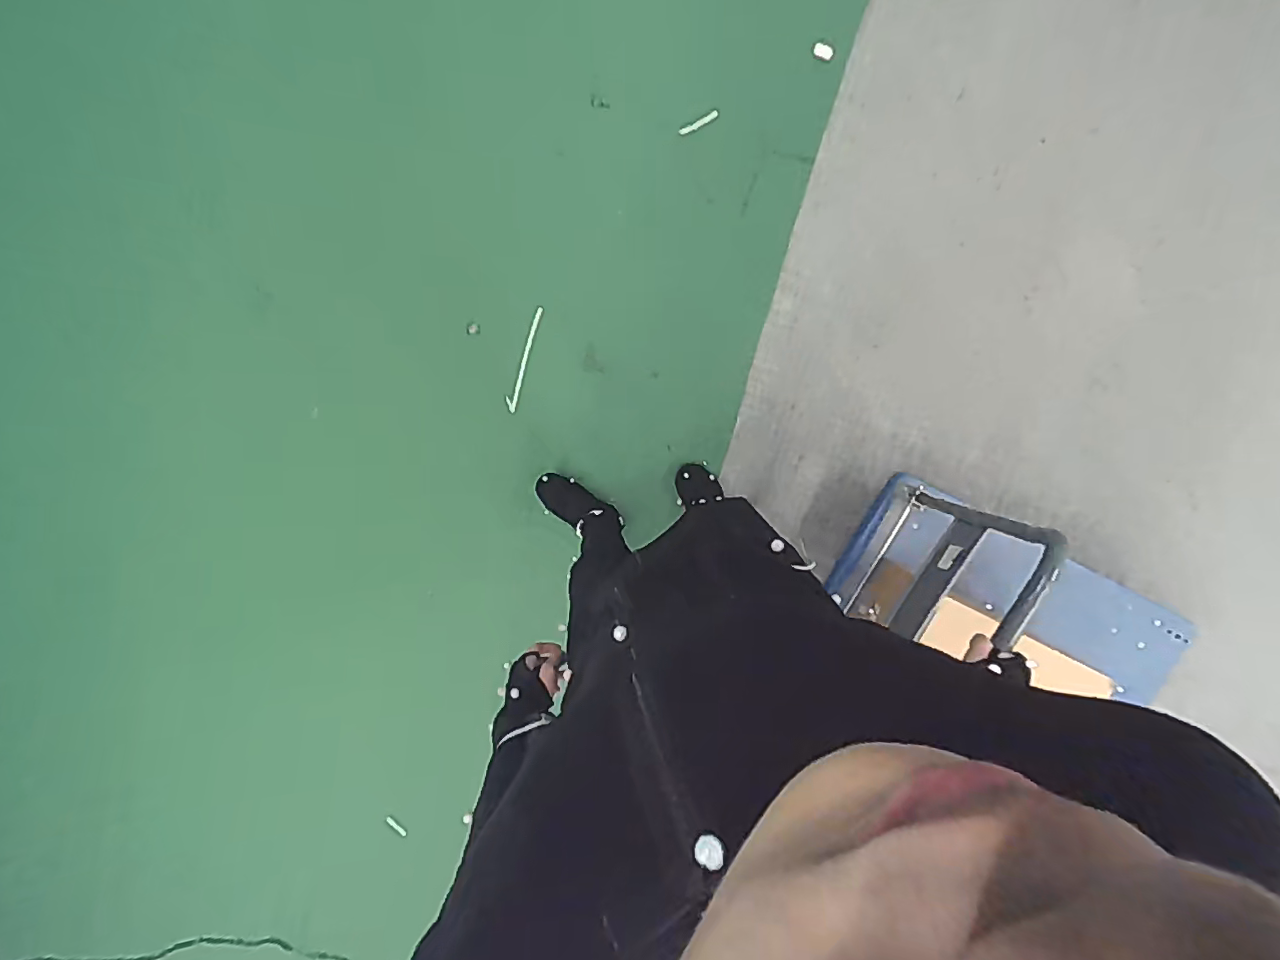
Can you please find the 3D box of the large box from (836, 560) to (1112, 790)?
[{"bbox_3d":[0.758,0.438,1.299,0.408,0.320,0.320,26,97,1],"label":"large box"}]
